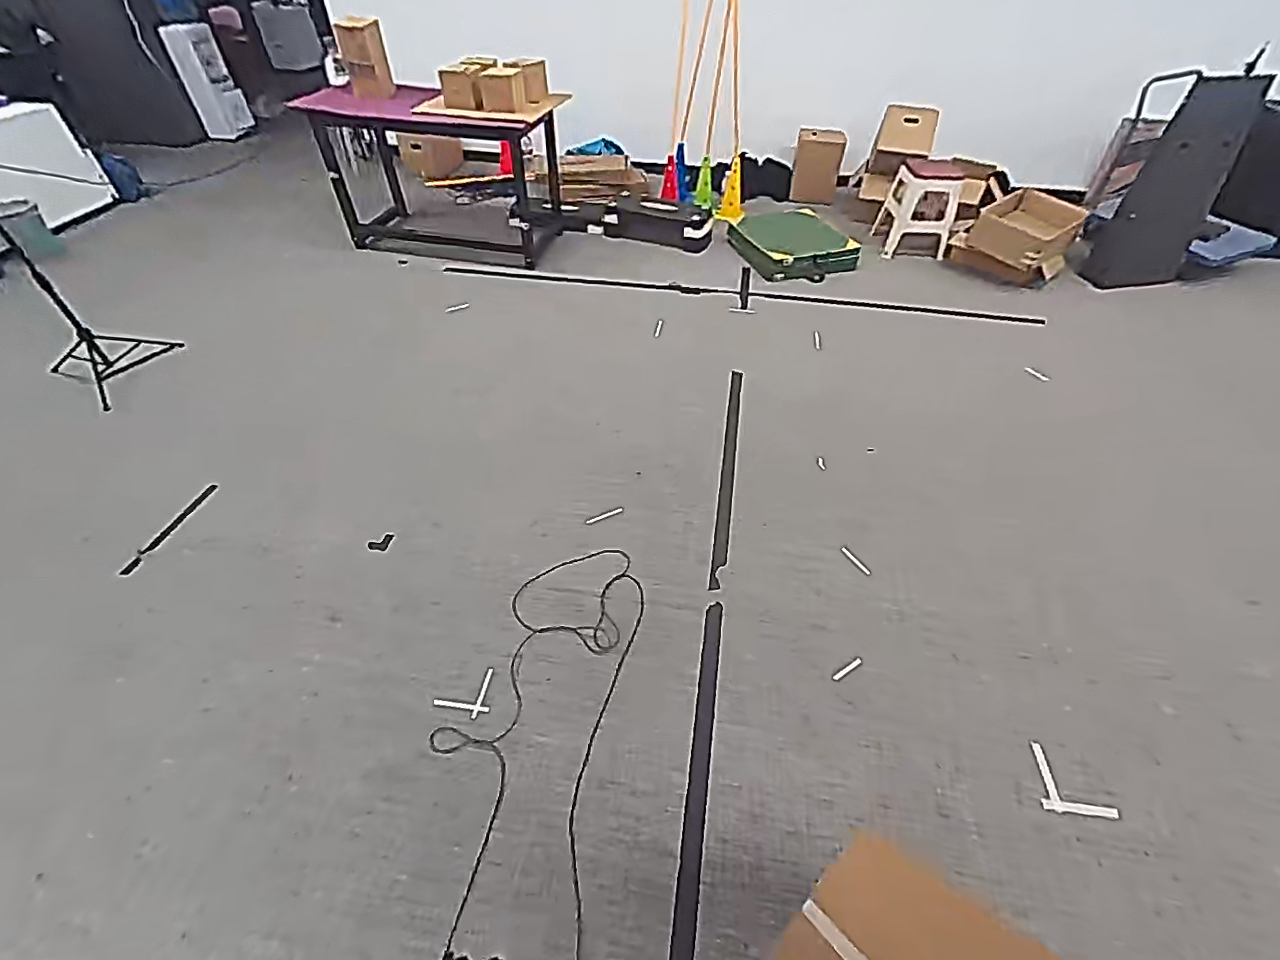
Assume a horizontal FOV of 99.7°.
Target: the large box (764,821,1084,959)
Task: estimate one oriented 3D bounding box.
[{"bbox_3d":[0.416,0.734,0.664,0.320,0.408,0.320,-42,92,-15],"label":"large box"}]
